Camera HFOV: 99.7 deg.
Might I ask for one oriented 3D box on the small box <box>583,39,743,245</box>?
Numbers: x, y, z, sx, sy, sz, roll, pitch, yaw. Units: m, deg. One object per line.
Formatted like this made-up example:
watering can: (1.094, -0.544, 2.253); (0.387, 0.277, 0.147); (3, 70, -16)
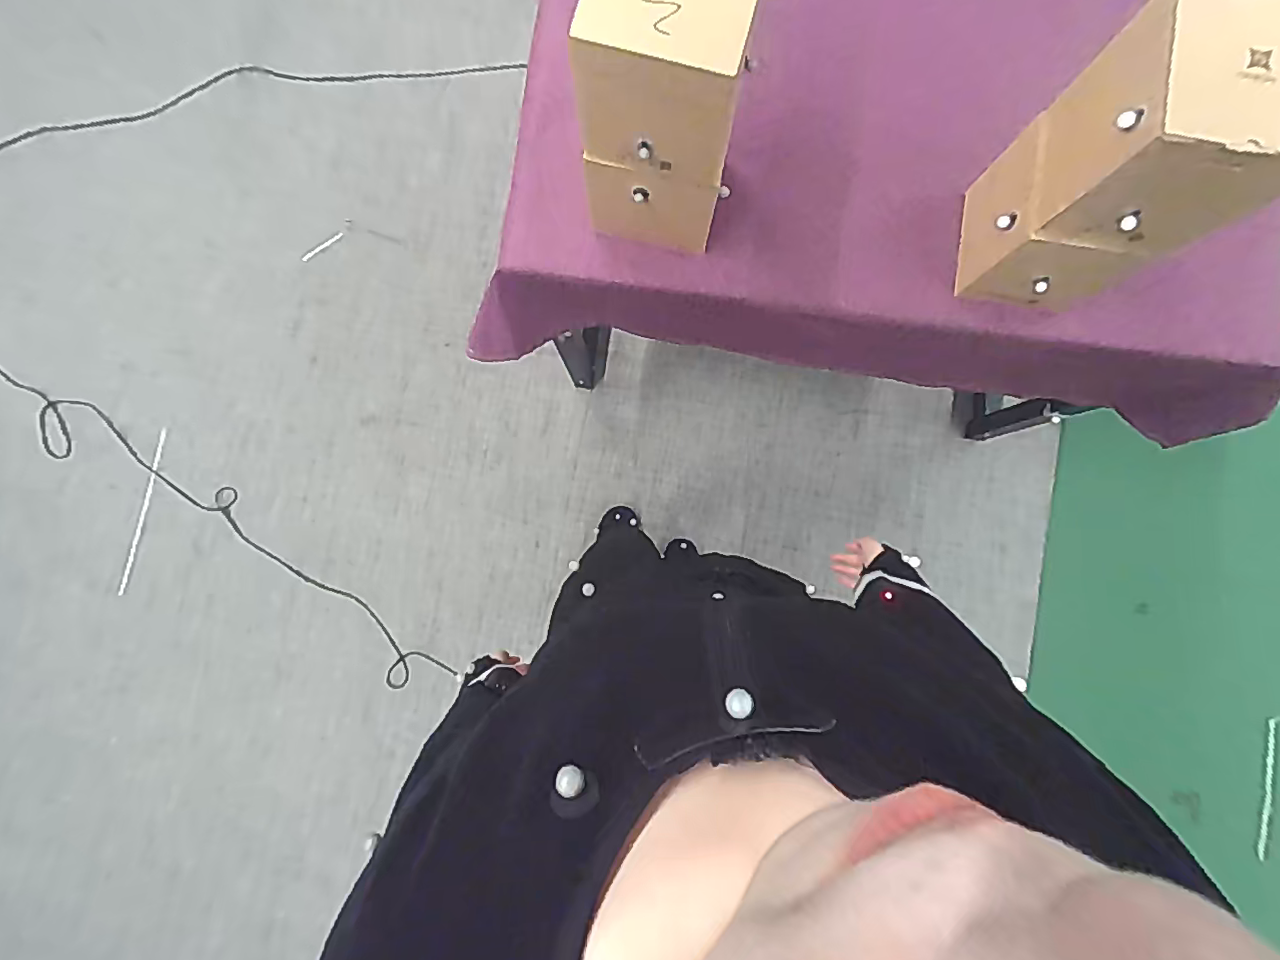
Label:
small box: (0.030, -0.456, 0.755); (0.179, 0.176, 0.168); (12, 85, 1)

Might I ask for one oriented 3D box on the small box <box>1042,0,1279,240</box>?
small box: (0.574, -0.390, 0.579); (0.168, 0.176, 0.179); (9, 86, 2)

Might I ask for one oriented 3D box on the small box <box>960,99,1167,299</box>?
small box: (0.570, -0.369, 0.741); (0.168, 0.176, 0.179); (9, 85, 1)
